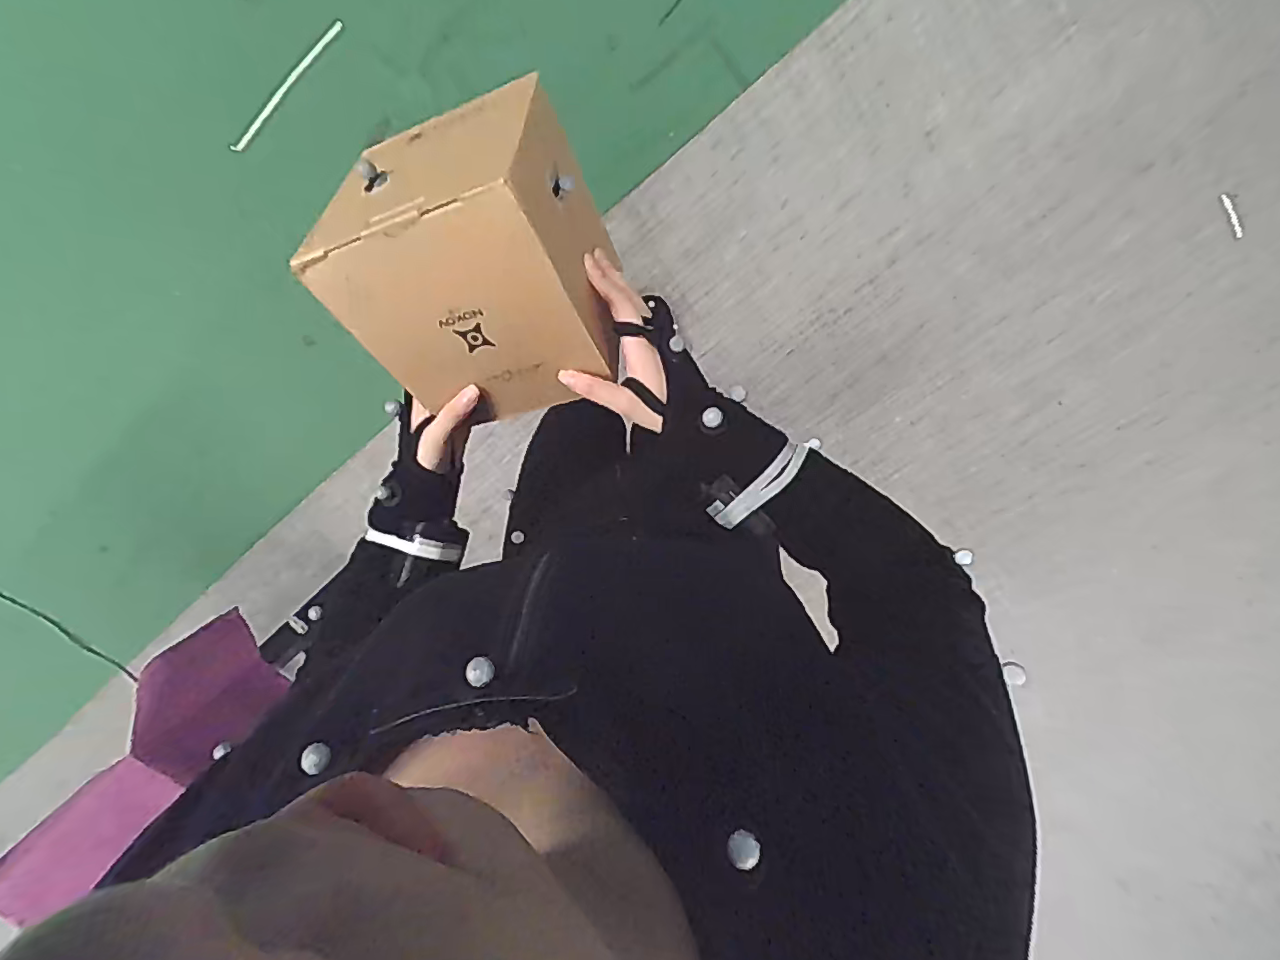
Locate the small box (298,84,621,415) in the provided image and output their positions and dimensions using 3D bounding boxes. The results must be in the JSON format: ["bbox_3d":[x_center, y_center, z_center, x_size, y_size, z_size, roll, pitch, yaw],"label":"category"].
[{"bbox_3d":[-0.120,-0.185,0.441,0.168,0.176,0.179,-11,142,16],"label":"small box"}]

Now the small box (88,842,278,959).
[{"bbox_3d":[-0.791,0.787,0.946,0.179,0.176,0.168,-35,106,13],"label":"small box"}]
